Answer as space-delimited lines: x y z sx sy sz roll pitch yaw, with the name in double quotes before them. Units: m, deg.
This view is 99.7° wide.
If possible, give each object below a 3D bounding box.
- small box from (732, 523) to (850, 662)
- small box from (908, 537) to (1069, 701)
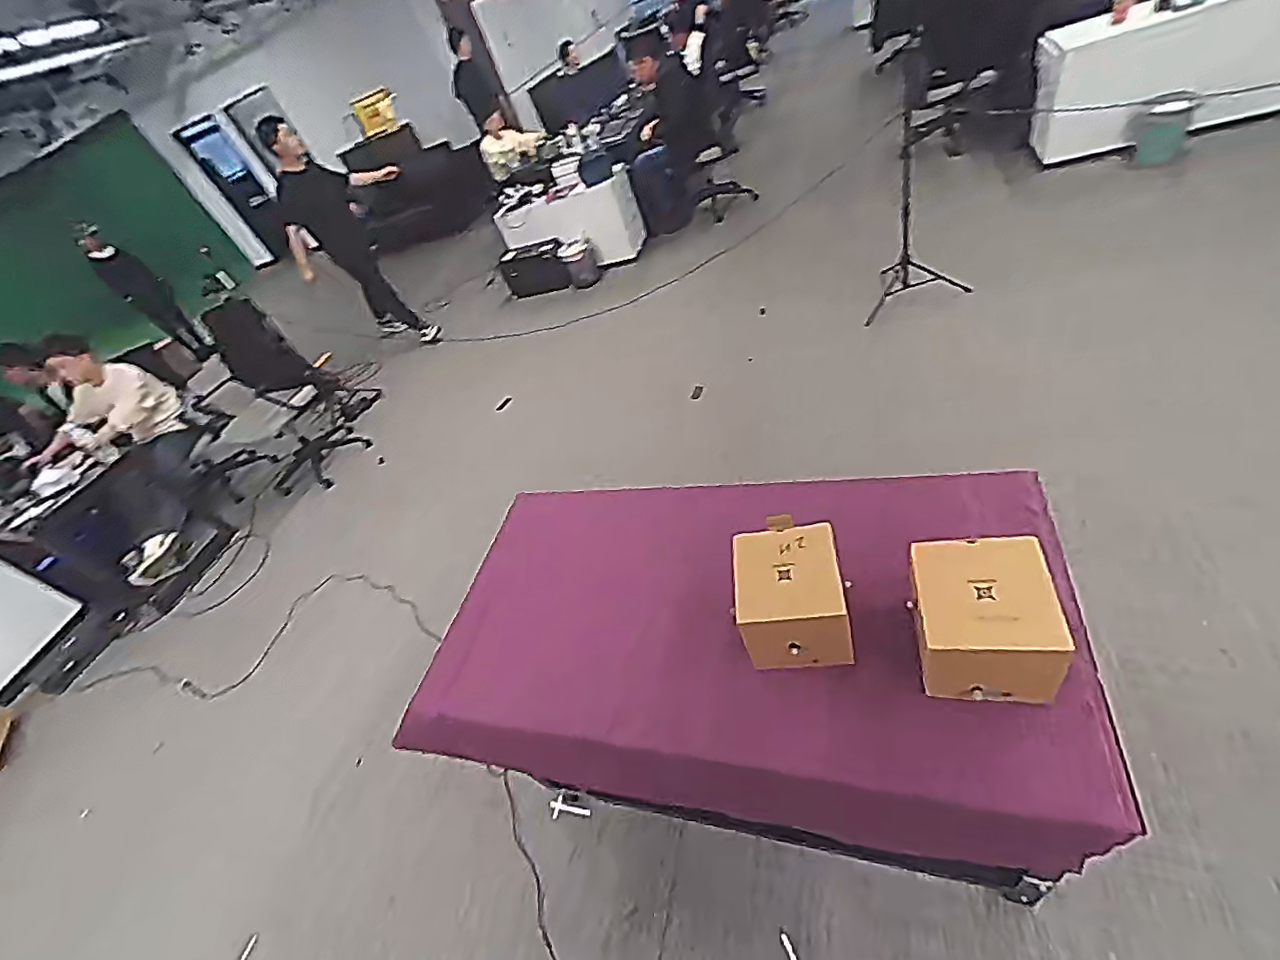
"small box" 0.259 0.202 0.932 0.168 0.176 0.179 -10 44 17
"small box" 0.501 0.206 0.808 0.168 0.176 0.179 -6 45 22
